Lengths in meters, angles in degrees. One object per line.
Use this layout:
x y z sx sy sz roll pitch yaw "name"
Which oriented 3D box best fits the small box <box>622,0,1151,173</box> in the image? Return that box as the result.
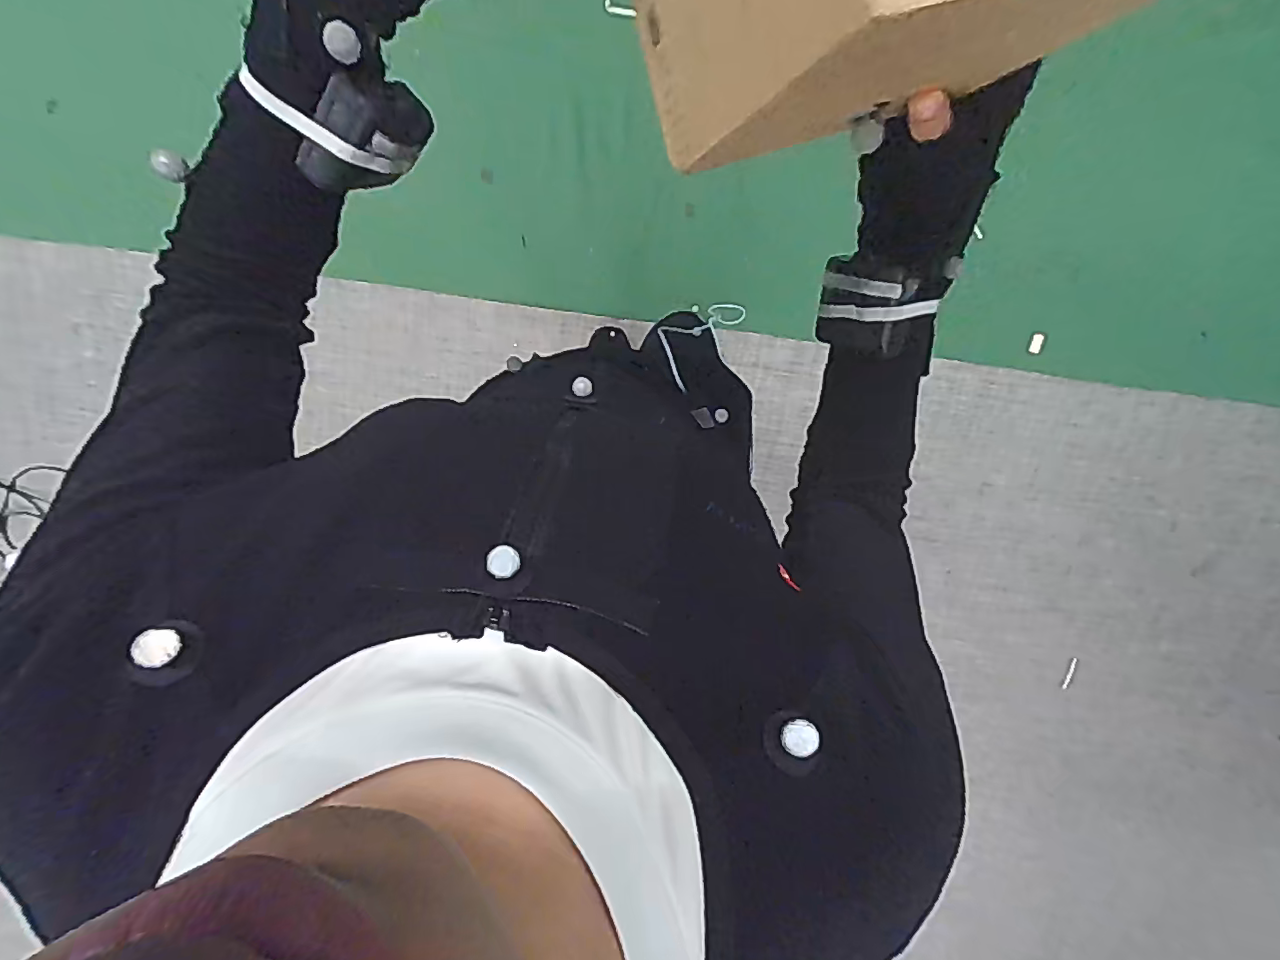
0.092 -0.238 0.196 0.179 0.176 0.168 -21 110 -8 "small box"
